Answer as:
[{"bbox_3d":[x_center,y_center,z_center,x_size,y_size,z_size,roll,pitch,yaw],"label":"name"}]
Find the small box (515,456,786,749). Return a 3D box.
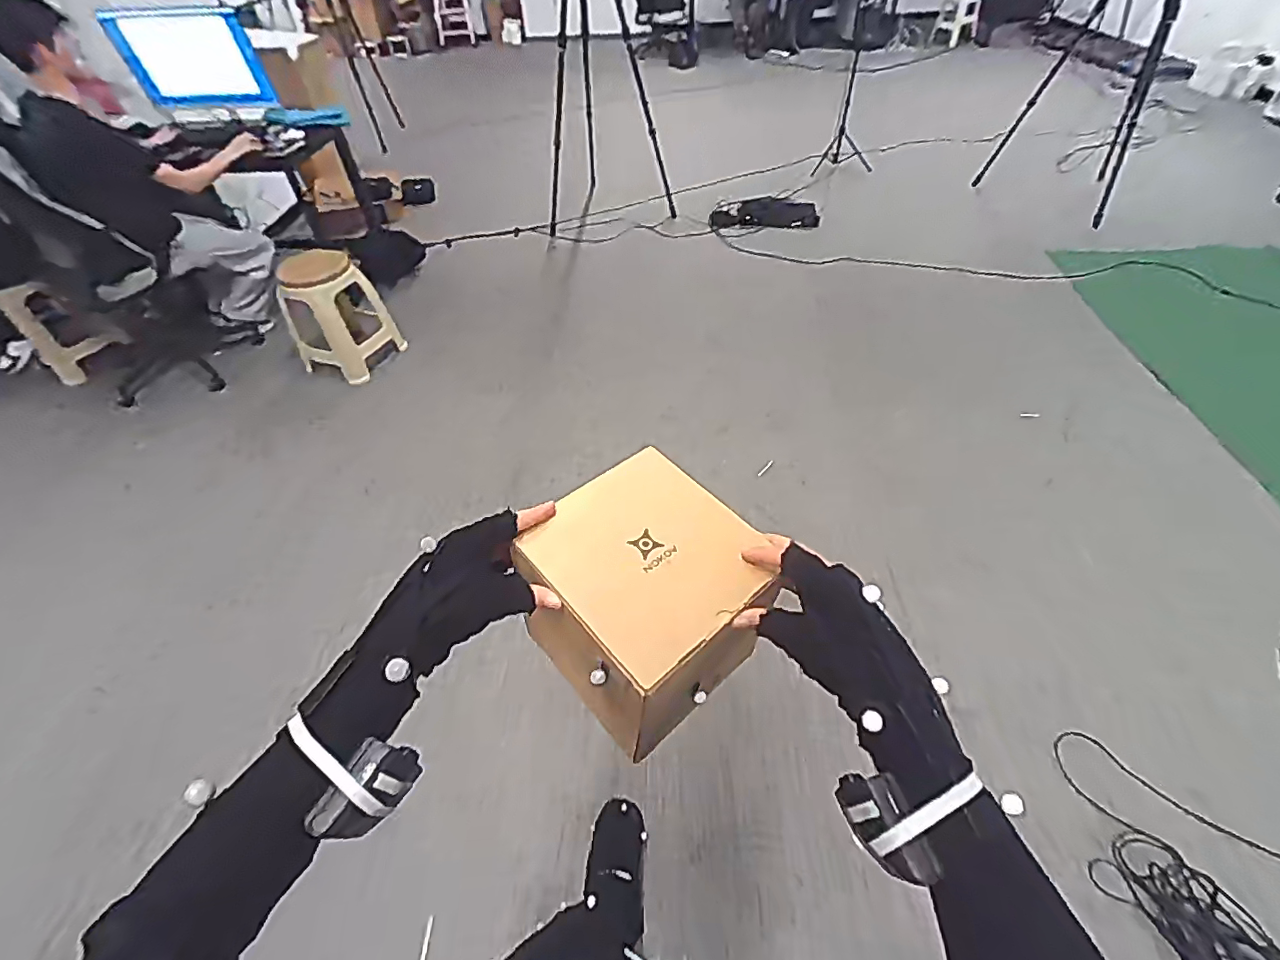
[{"bbox_3d":[0.001,0.115,0.514,0.168,0.176,0.179,-31,58,-29],"label":"small box"}]
